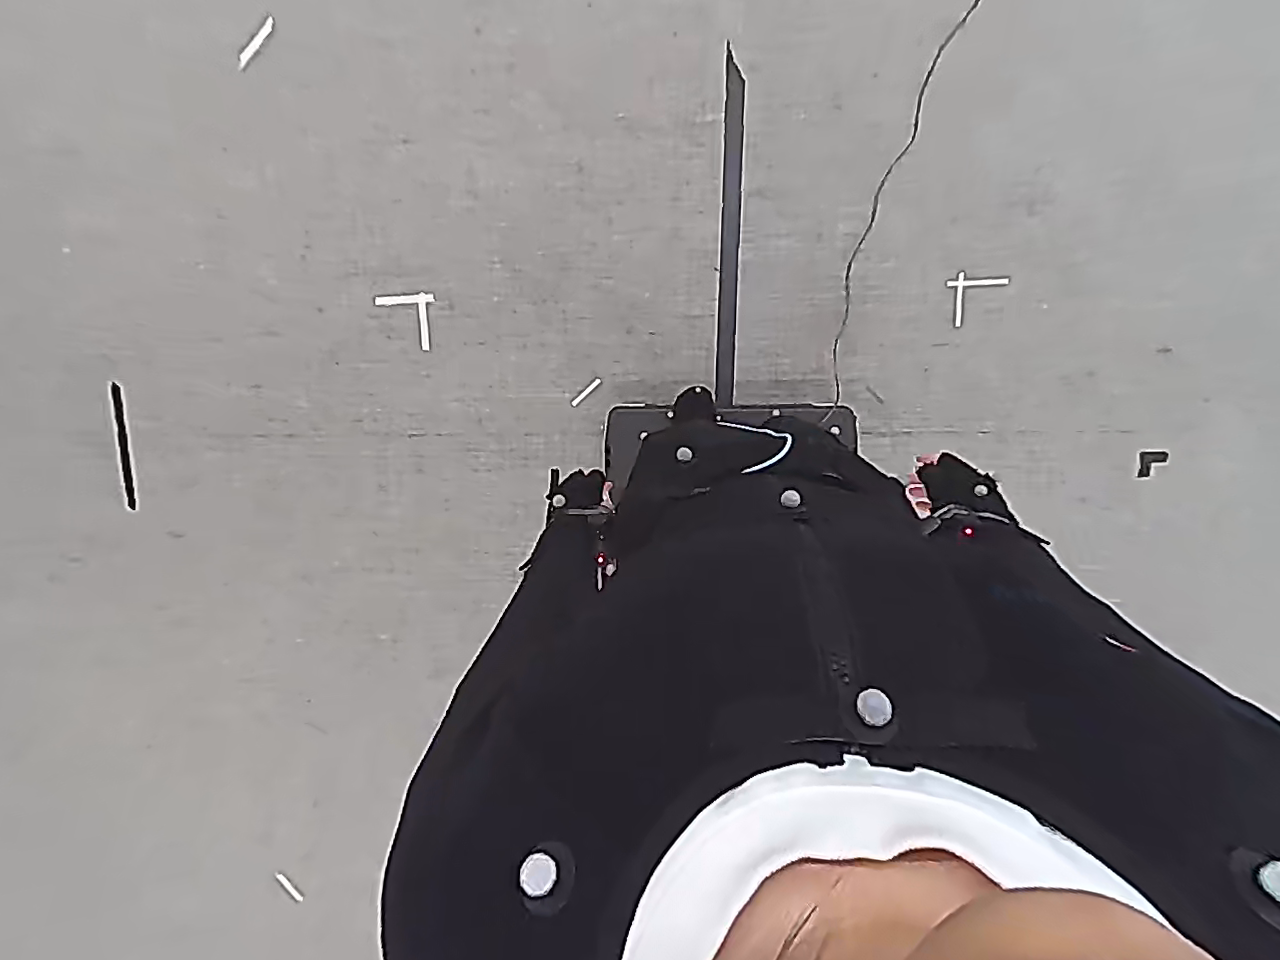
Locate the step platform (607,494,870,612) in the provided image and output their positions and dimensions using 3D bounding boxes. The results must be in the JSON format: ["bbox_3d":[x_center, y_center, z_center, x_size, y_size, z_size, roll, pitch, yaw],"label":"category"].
[{"bbox_3d":[0.251,0.192,1.459,0.684,0.204,0.286,0,97,6],"label":"step platform"}]
